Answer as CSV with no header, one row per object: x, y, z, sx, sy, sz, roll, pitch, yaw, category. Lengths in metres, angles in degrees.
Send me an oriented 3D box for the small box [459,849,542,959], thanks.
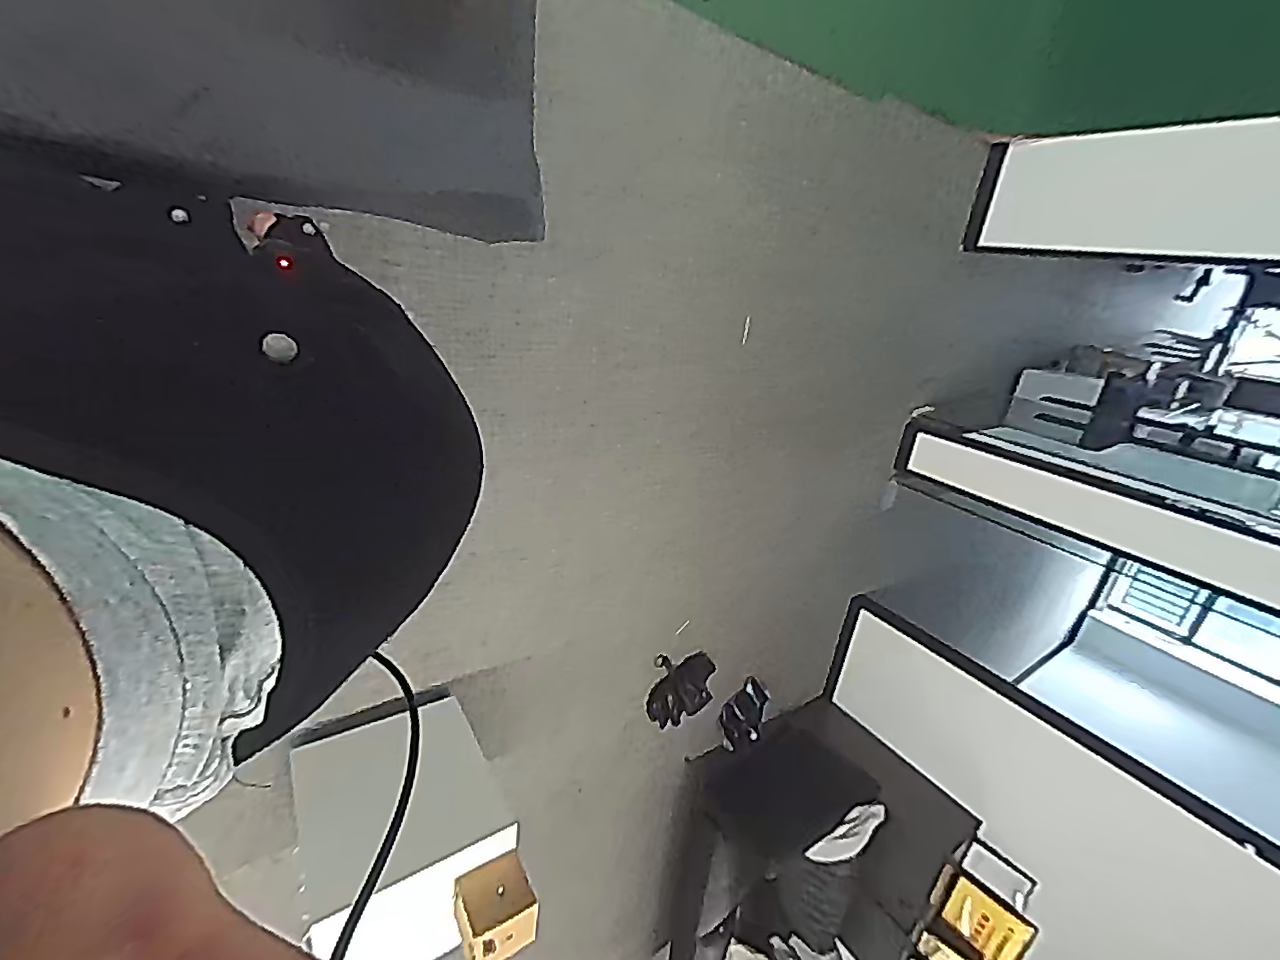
-0.386,1.170,1.480,0.179,0.176,0.168,-8,117,-35,small box
